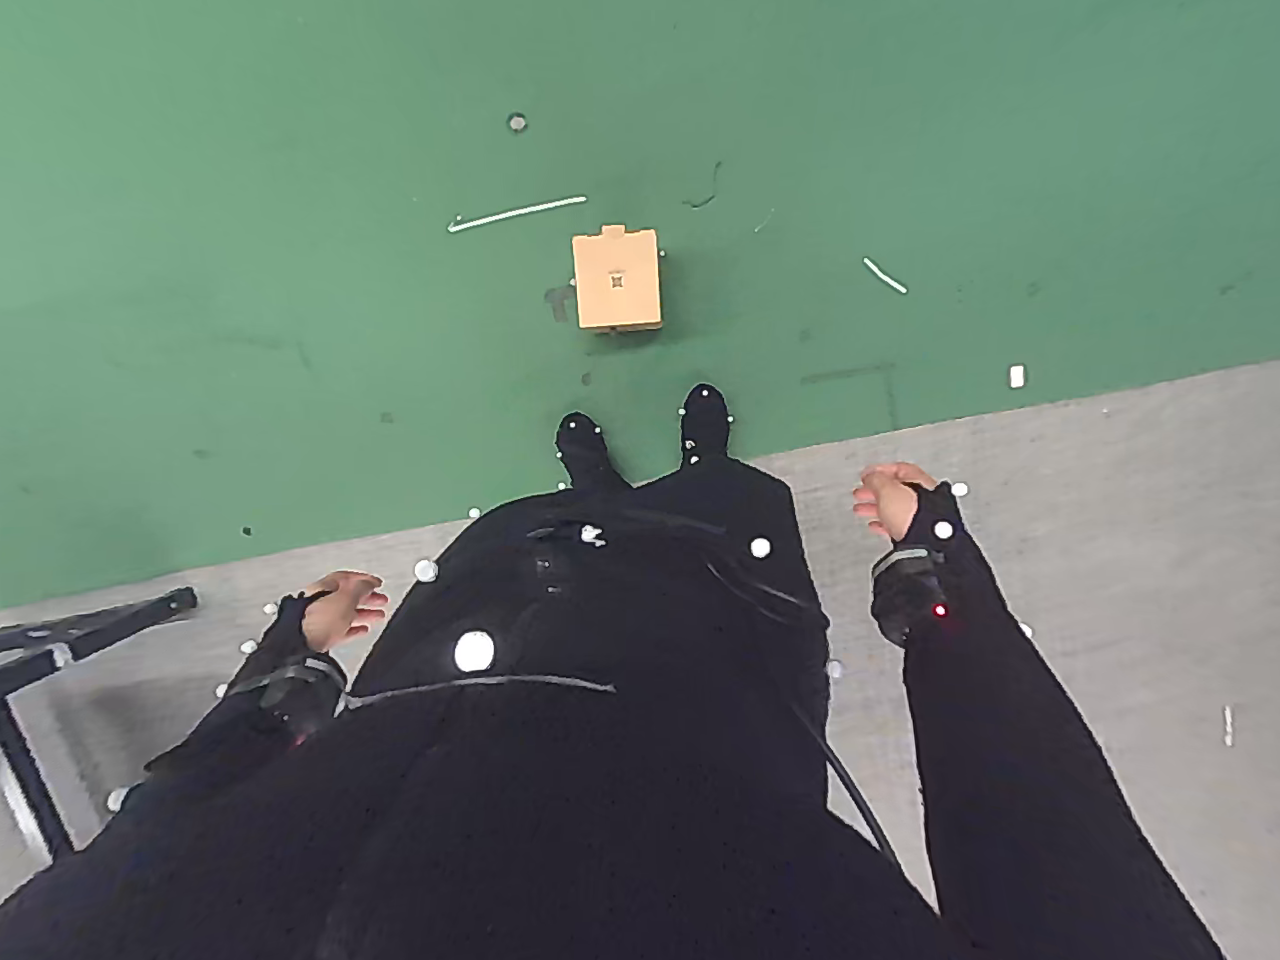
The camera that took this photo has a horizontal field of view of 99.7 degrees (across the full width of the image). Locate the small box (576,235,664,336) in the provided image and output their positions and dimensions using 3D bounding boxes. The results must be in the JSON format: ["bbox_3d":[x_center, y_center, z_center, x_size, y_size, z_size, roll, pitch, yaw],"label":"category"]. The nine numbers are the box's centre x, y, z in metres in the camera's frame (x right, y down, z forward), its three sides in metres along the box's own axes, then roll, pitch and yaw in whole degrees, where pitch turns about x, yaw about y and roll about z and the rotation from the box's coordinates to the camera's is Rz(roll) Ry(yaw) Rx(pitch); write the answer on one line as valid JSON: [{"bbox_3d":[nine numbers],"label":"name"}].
[{"bbox_3d":[-0.036,-0.400,1.143,0.168,0.176,0.179,-4,100,3],"label":"small box"}]
